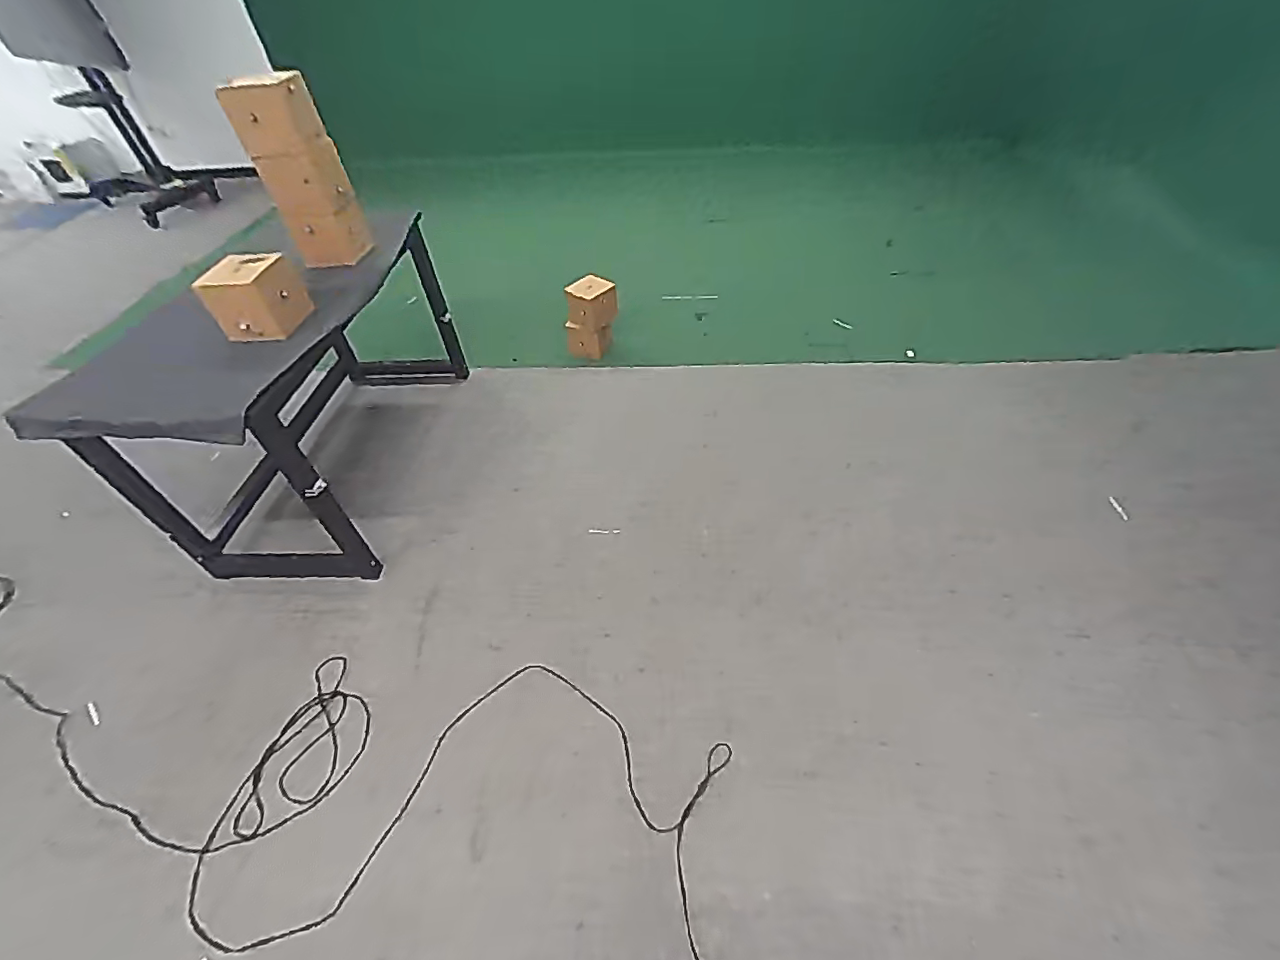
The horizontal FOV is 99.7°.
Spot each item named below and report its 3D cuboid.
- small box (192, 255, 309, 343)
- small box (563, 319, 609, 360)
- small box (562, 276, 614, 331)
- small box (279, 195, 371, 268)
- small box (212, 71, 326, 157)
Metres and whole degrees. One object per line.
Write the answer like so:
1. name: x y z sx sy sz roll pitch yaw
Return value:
1. small box: -1.048 -0.494 1.477 0.168 0.176 0.179 0 47 5
2. small box: -0.256 -0.708 2.632 0.168 0.176 0.179 13 49 15
3. small box: -0.233 -0.816 2.507 0.168 0.176 0.179 31 55 27
4. small box: -1.026 -0.817 1.783 0.179 0.176 0.168 -1 47 5
5. small box: -1.049 -1.041 1.544 0.179 0.176 0.168 -4 47 3
